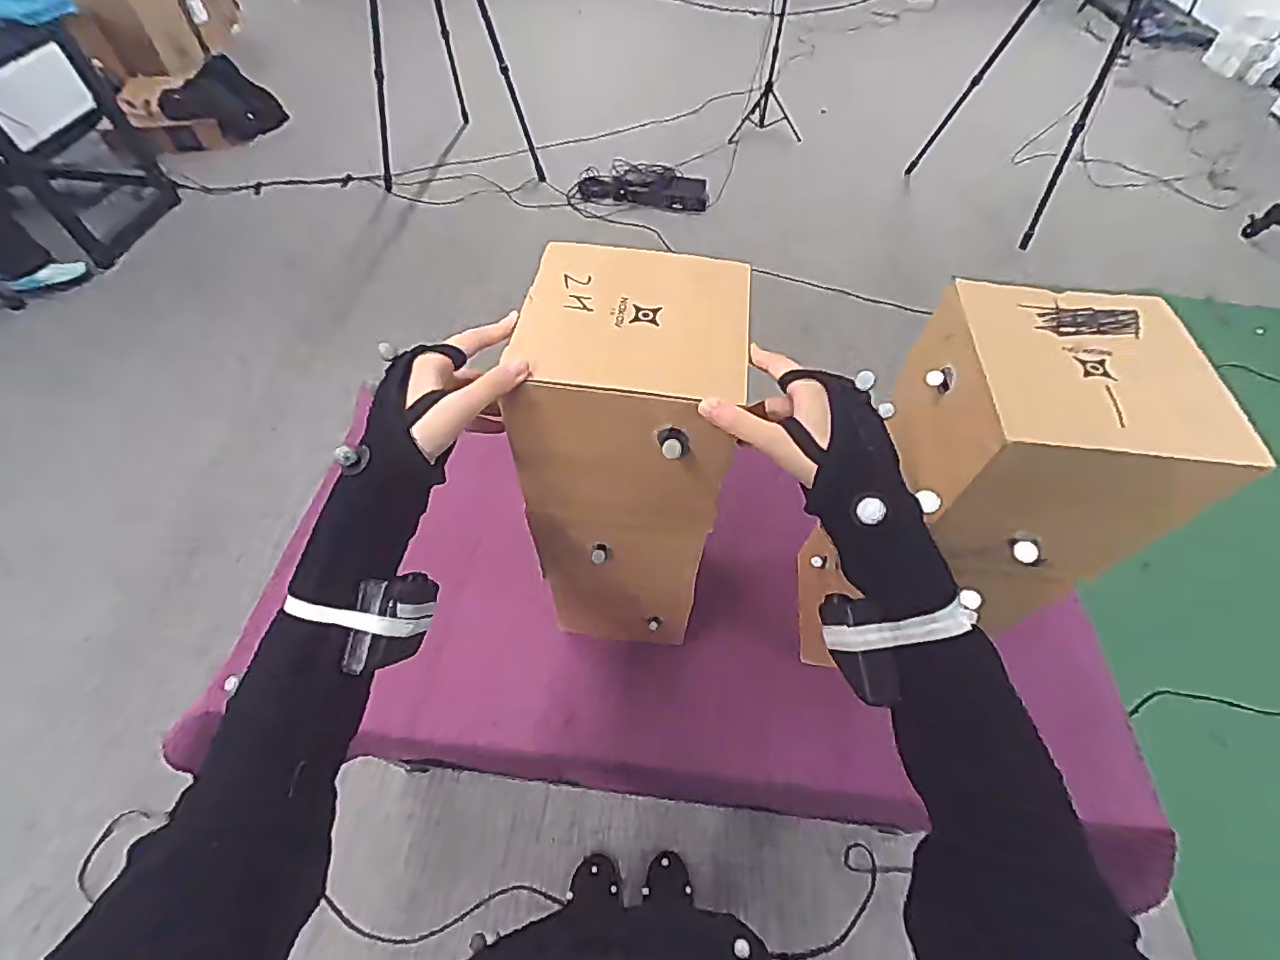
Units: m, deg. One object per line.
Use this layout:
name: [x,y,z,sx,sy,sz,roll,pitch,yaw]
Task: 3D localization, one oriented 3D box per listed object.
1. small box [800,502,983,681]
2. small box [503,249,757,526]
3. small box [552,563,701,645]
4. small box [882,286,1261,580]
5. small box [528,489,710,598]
small box: [0.320,0.155,0.730,0.168,0.176,0.179,8,54,4]
small box: [-0.001,-0.075,0.480,0.179,0.176,0.168,7,53,4]
small box: [-0.012,0.115,0.747,0.179,0.176,0.168,6,53,3]
small box: [0.326,-0.037,0.463,0.168,0.176,0.179,6,54,4]
small box: [-0.012,0.020,0.614,0.179,0.176,0.168,7,54,3]
